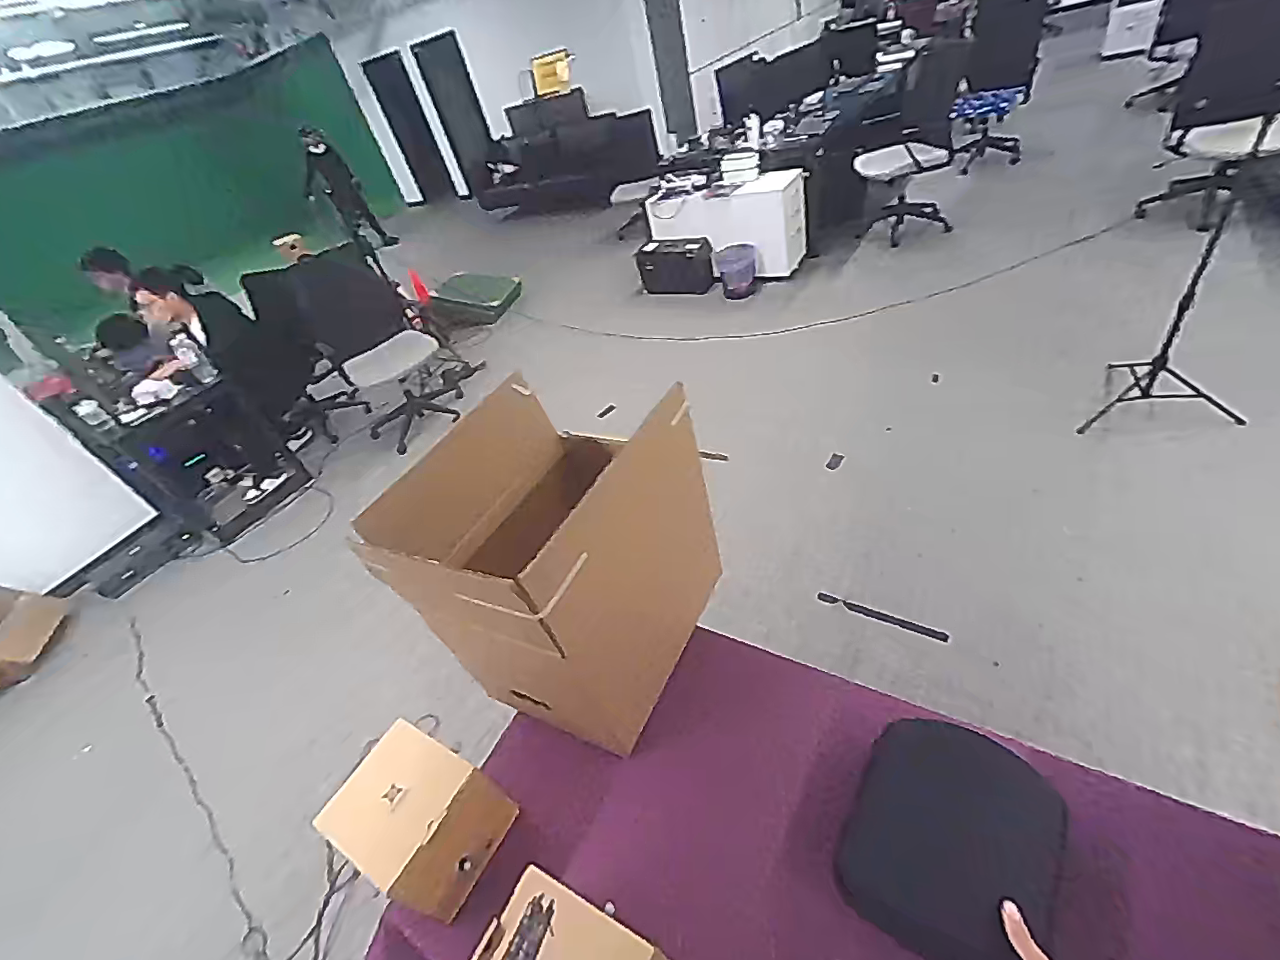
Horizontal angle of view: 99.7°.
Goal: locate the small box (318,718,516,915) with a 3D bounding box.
[{"bbox_3d":[-0.317,0.494,0.797,0.179,0.176,0.168,13,48,30],"label":"small box"}]
